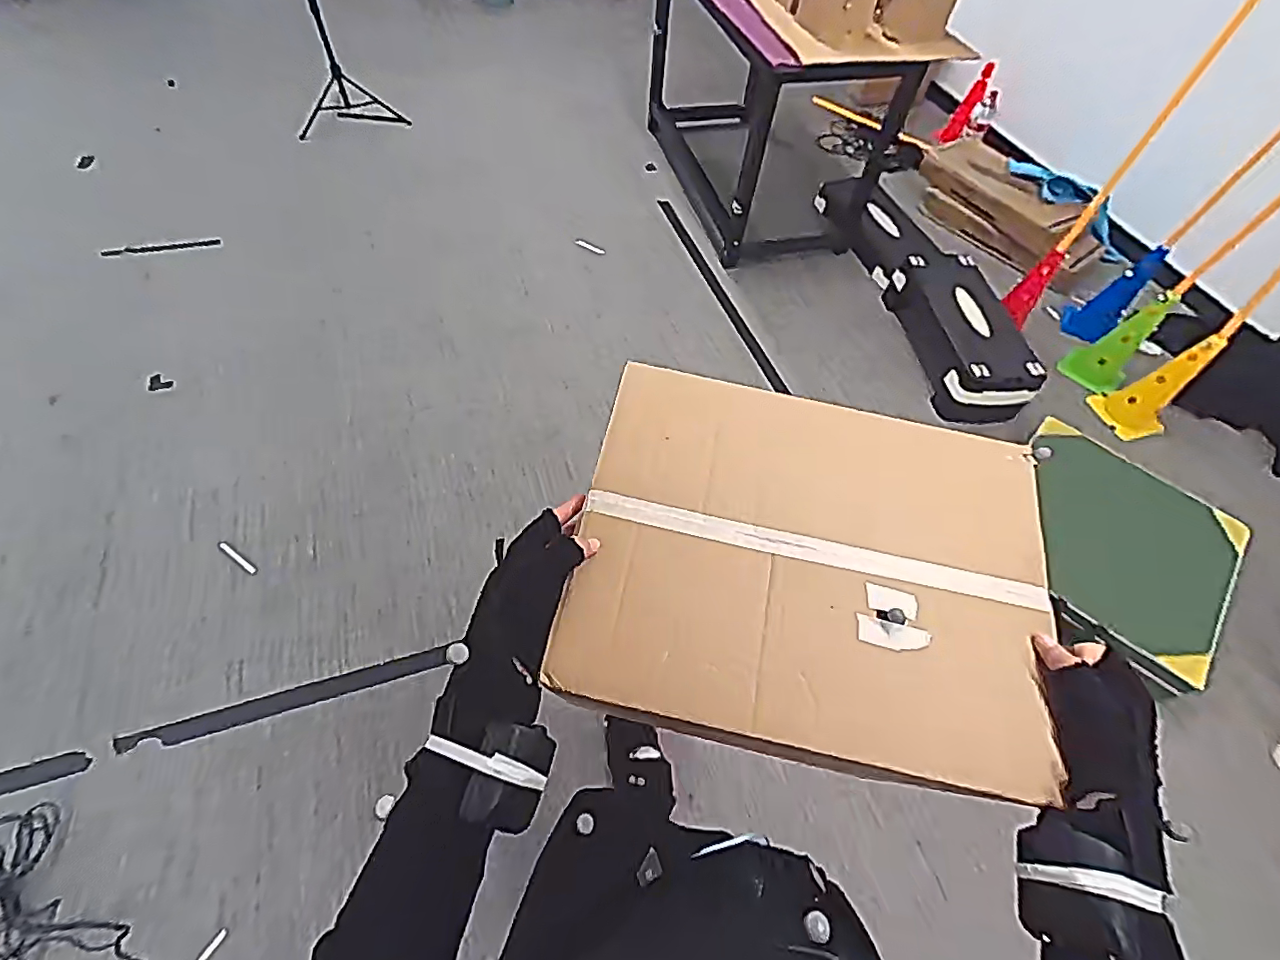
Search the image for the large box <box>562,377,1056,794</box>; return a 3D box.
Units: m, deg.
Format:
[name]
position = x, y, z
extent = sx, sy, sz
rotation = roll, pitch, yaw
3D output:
[large box]
position = 0.149, 0.130, 0.619
extent = 0.408, 0.320, 0.320
rotation = 13, 66, 2
